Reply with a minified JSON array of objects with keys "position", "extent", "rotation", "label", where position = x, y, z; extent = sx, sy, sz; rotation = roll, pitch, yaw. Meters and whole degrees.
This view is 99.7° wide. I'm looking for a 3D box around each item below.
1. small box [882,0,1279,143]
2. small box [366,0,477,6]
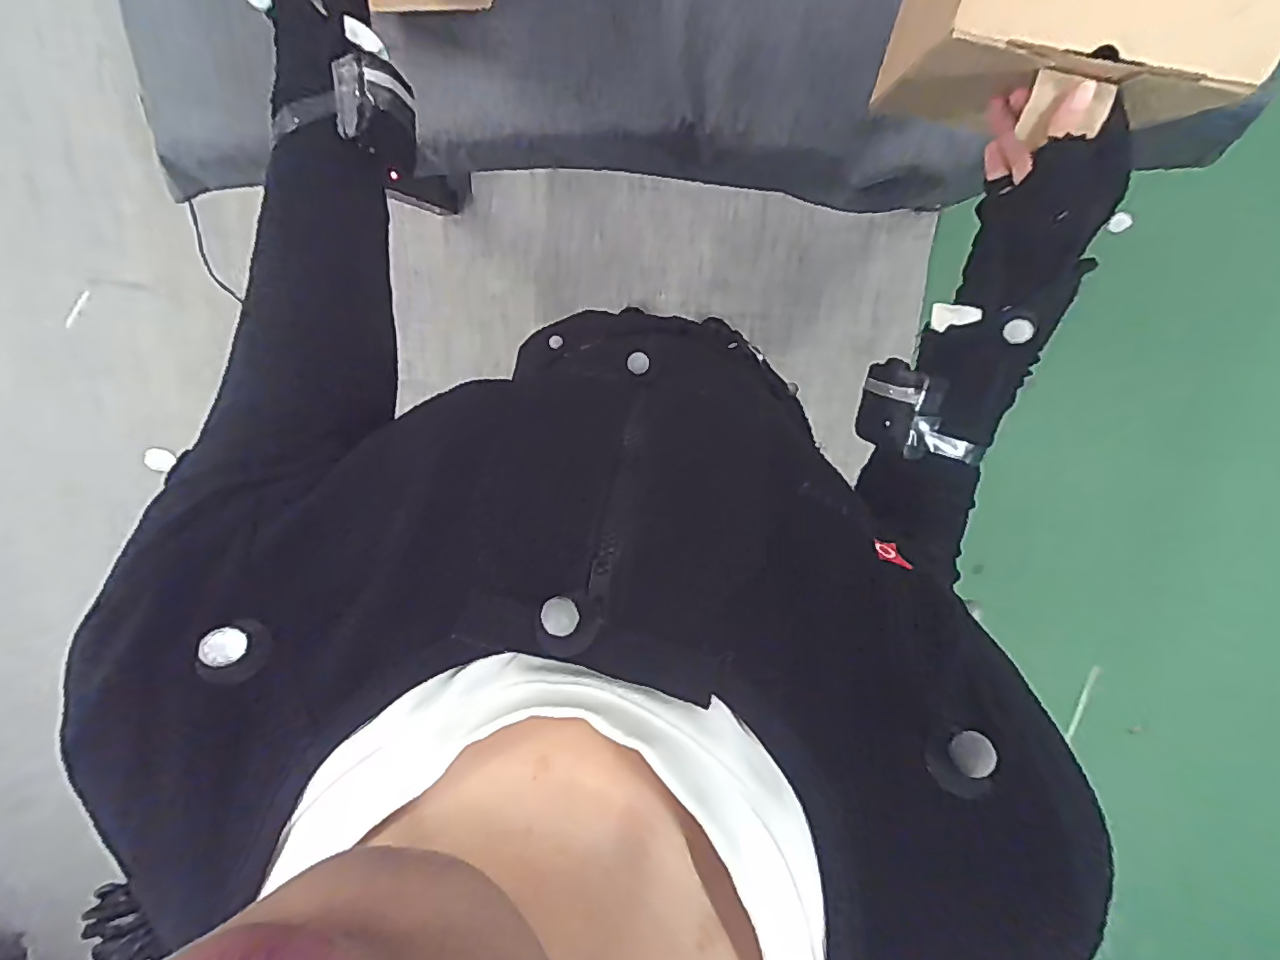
[{"position":[0.271,-0.328,0.329],"extent":[0.168,0.176,0.179],"rotation":[13,114,2],"label":"small box"},{"position":[-0.217,-0.531,0.433],"extent":[0.168,0.176,0.179],"rotation":[8,85,9],"label":"small box"}]
